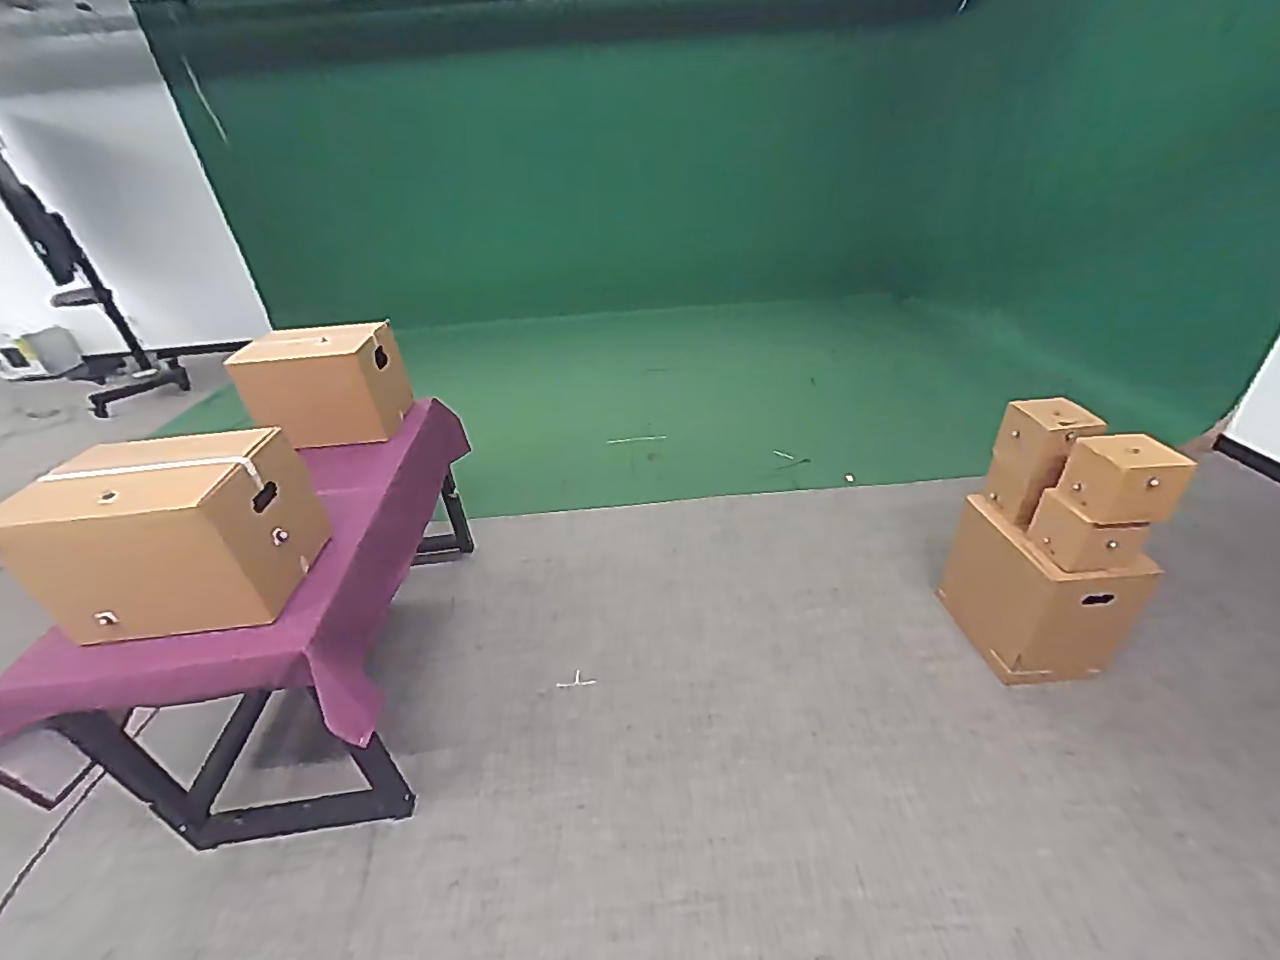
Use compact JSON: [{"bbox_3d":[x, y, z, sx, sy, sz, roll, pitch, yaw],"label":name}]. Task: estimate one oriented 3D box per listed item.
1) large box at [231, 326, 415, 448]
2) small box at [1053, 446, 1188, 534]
[{"bbox_3d":[-1.042,-0.321,1.838,0.408,0.320,0.320,-4,33,-2],"label":"large box"},{"bbox_3d":[1.232,0.026,1.404,0.179,0.176,0.168,-3,31,1],"label":"small box"}]
